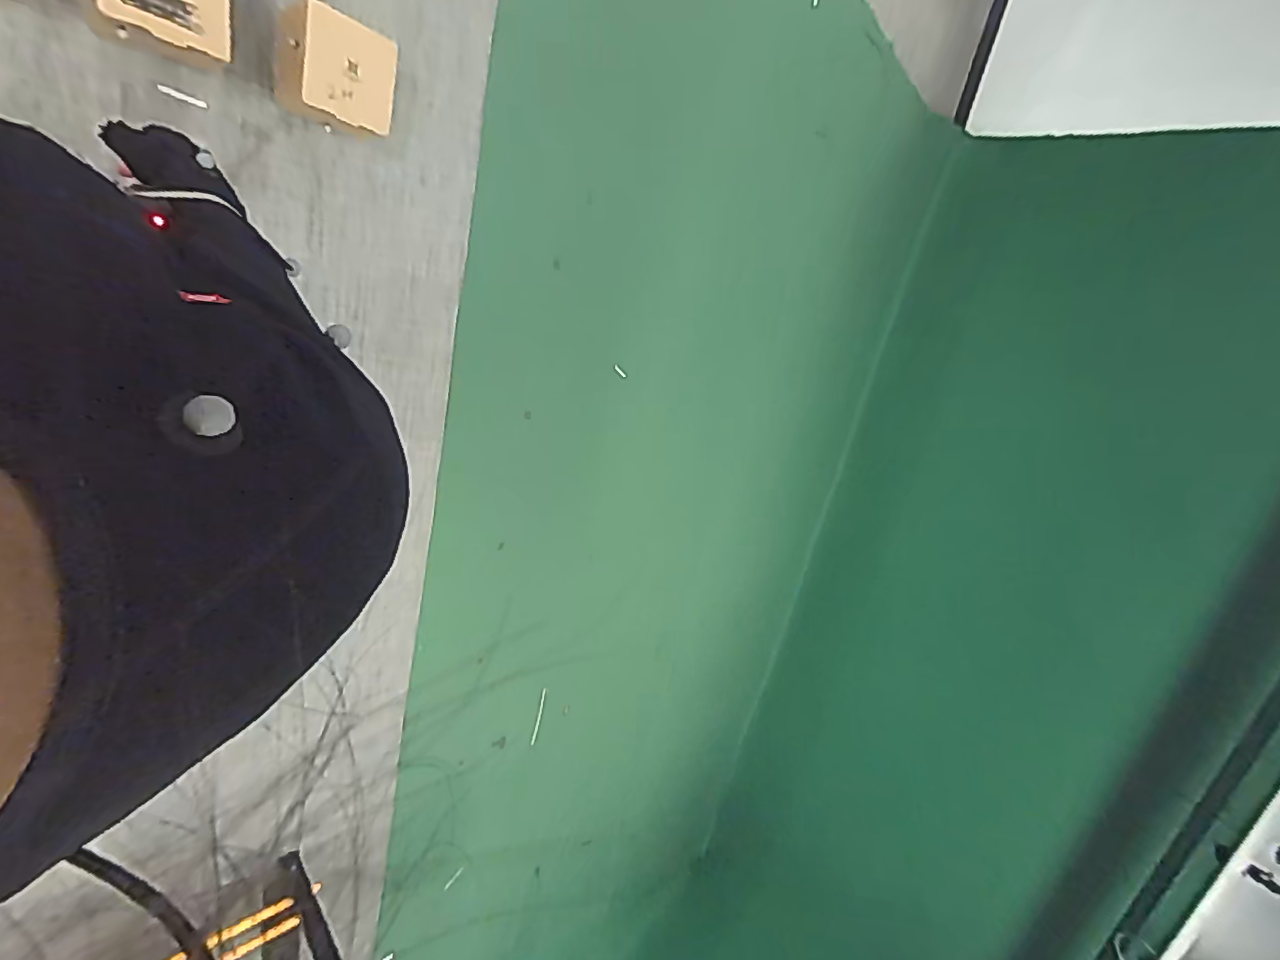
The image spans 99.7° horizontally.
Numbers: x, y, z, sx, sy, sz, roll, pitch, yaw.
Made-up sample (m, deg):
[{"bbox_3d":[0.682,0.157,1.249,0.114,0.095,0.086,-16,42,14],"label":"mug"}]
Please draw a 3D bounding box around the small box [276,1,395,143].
[{"bbox_3d":[-0.633,-0.827,1.118,0.168,0.176,0.179,-2,112,-48],"label":"small box"}]
